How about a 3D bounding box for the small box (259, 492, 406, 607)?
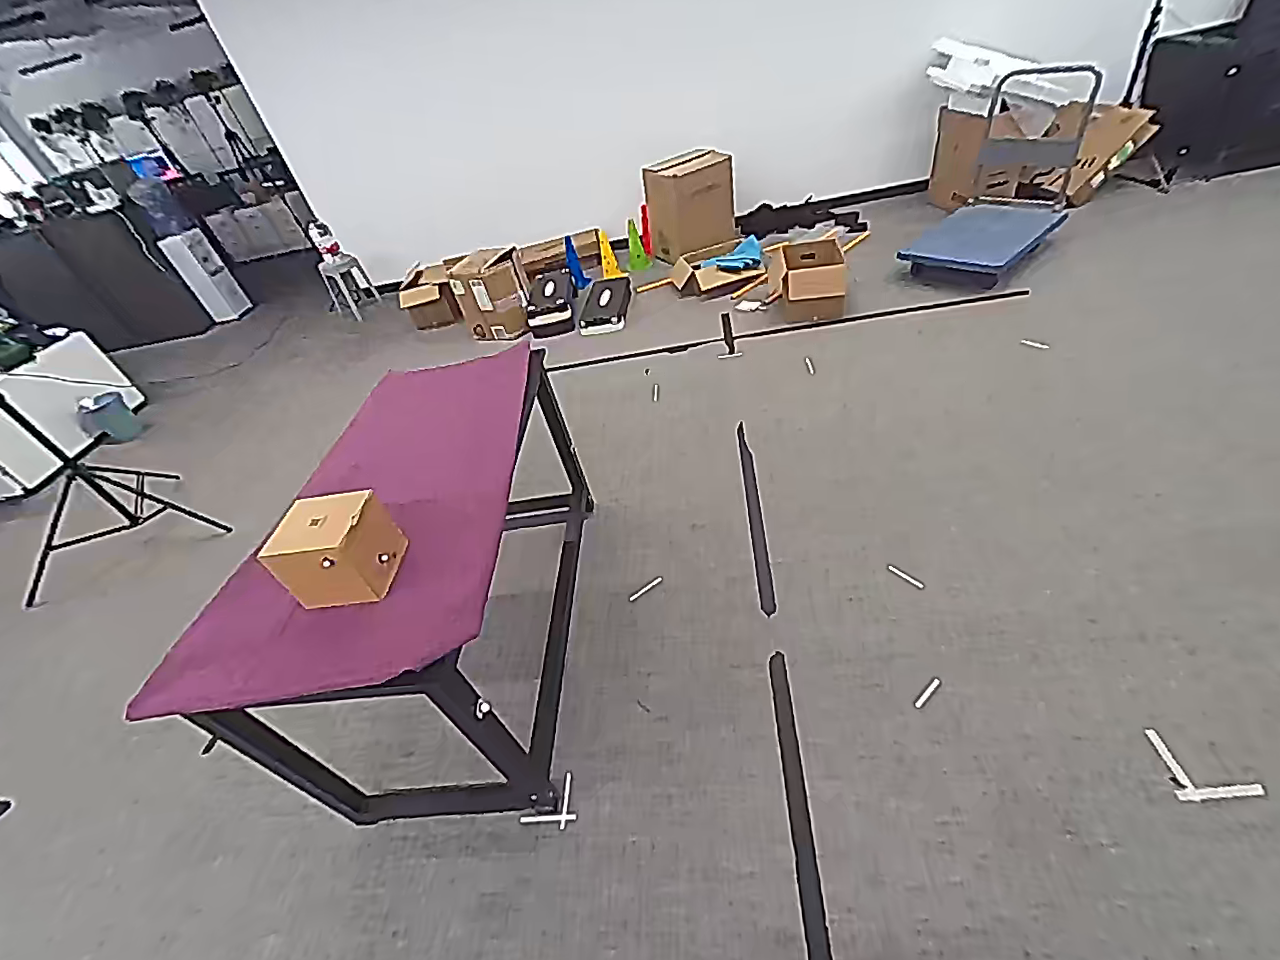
[{"bbox_3d":[-0.628,0.149,1.129,0.179,0.176,0.168,-8,40,6],"label":"small box"}]
